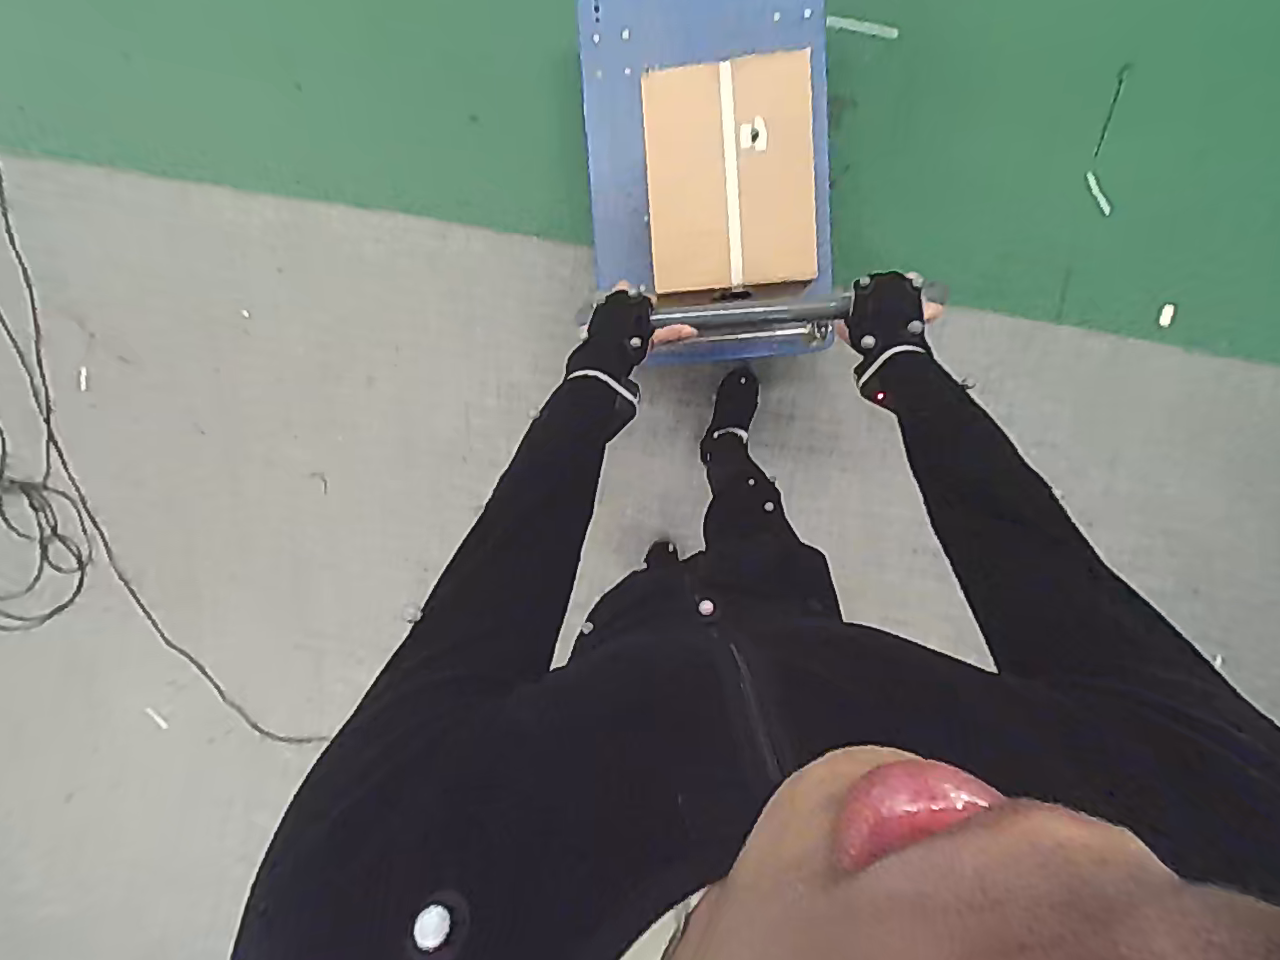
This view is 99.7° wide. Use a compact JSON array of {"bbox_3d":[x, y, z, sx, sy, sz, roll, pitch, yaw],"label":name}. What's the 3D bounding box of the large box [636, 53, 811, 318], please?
[{"bbox_3d":[0.172,-0.598,1.177,0.320,0.320,0.408,-4,96,4],"label":"large box"}]
